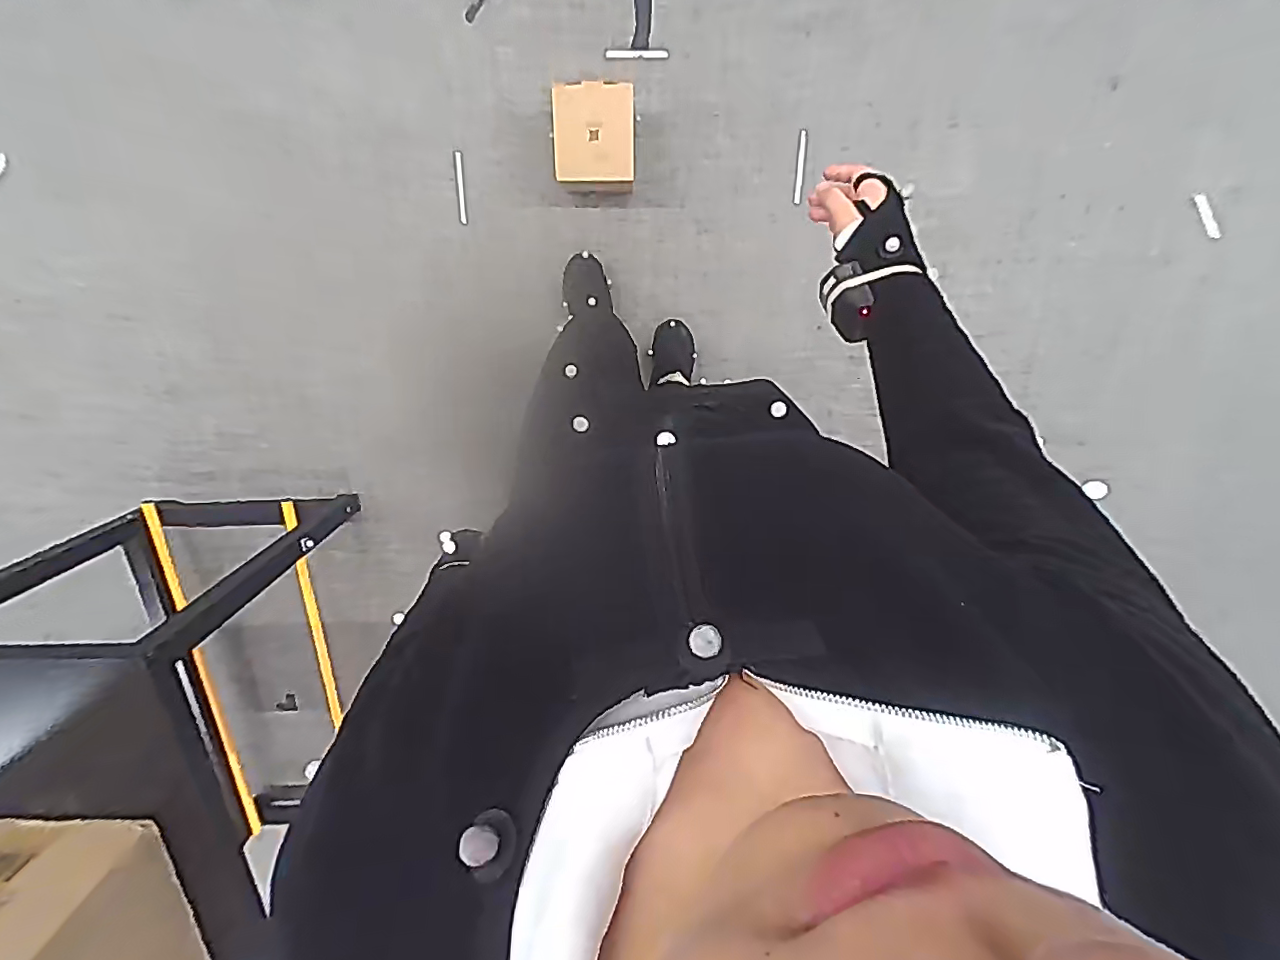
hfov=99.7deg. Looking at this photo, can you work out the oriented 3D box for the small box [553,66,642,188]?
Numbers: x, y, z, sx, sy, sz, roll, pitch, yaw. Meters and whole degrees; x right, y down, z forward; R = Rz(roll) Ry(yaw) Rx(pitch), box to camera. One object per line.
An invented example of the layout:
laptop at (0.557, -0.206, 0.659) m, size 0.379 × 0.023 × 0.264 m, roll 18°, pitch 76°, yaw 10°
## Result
small box at (-0.080, -0.703, 1.094) m, size 0.168 × 0.176 × 0.179 m, roll -1°, pitch 112°, yaw 0°
